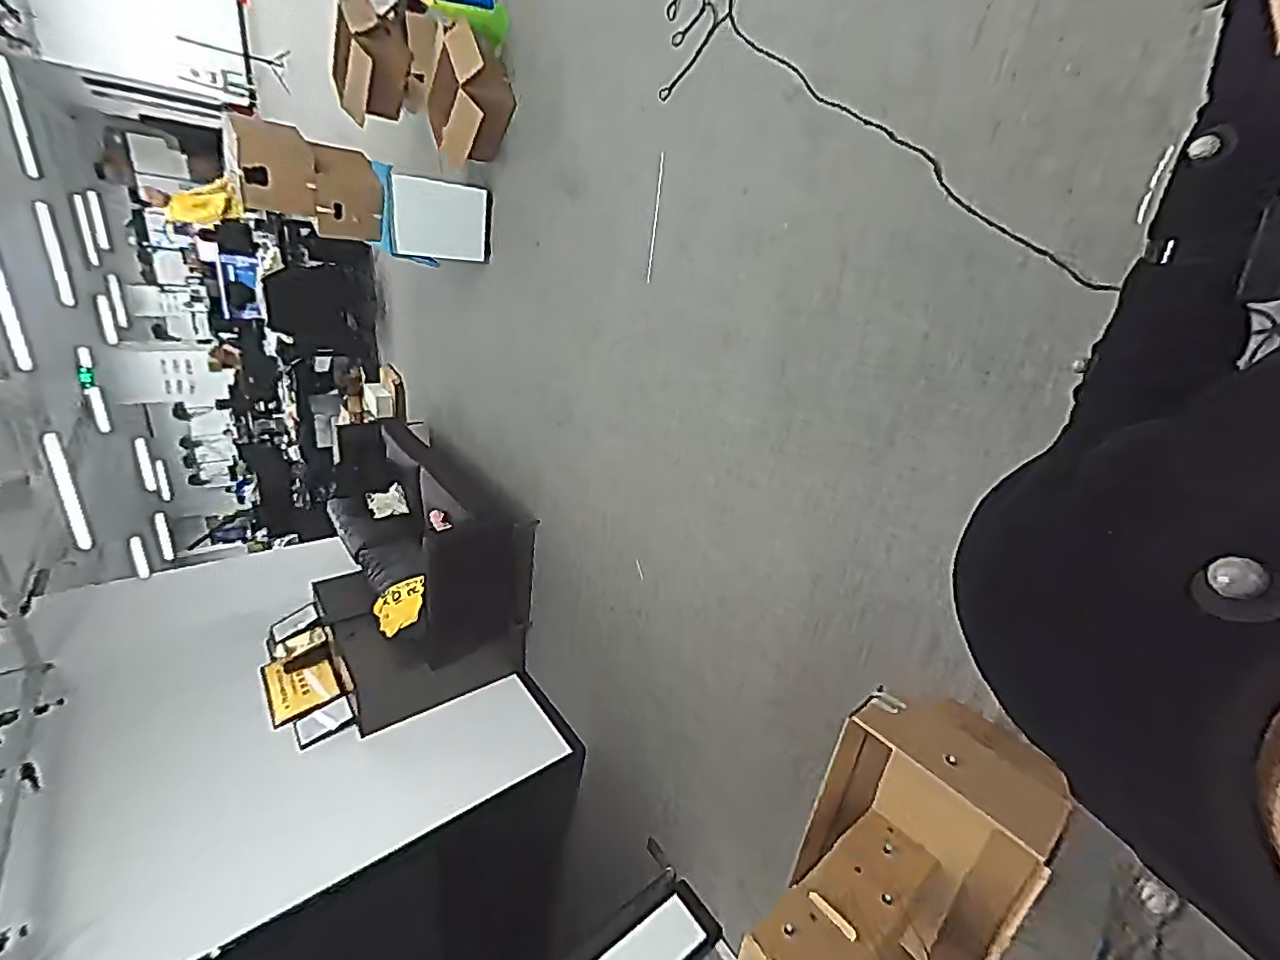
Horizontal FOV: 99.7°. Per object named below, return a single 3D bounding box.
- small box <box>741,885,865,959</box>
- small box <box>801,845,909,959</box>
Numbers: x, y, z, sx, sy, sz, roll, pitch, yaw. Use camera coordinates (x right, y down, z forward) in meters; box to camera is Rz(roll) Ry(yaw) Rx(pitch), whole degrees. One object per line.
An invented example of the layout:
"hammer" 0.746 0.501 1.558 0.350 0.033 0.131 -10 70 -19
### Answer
"small box" 0.310 0.944 1.042 0.168 0.176 0.179 28 117 45
"small box" 0.440 0.928 1.140 0.168 0.176 0.179 24 115 46
